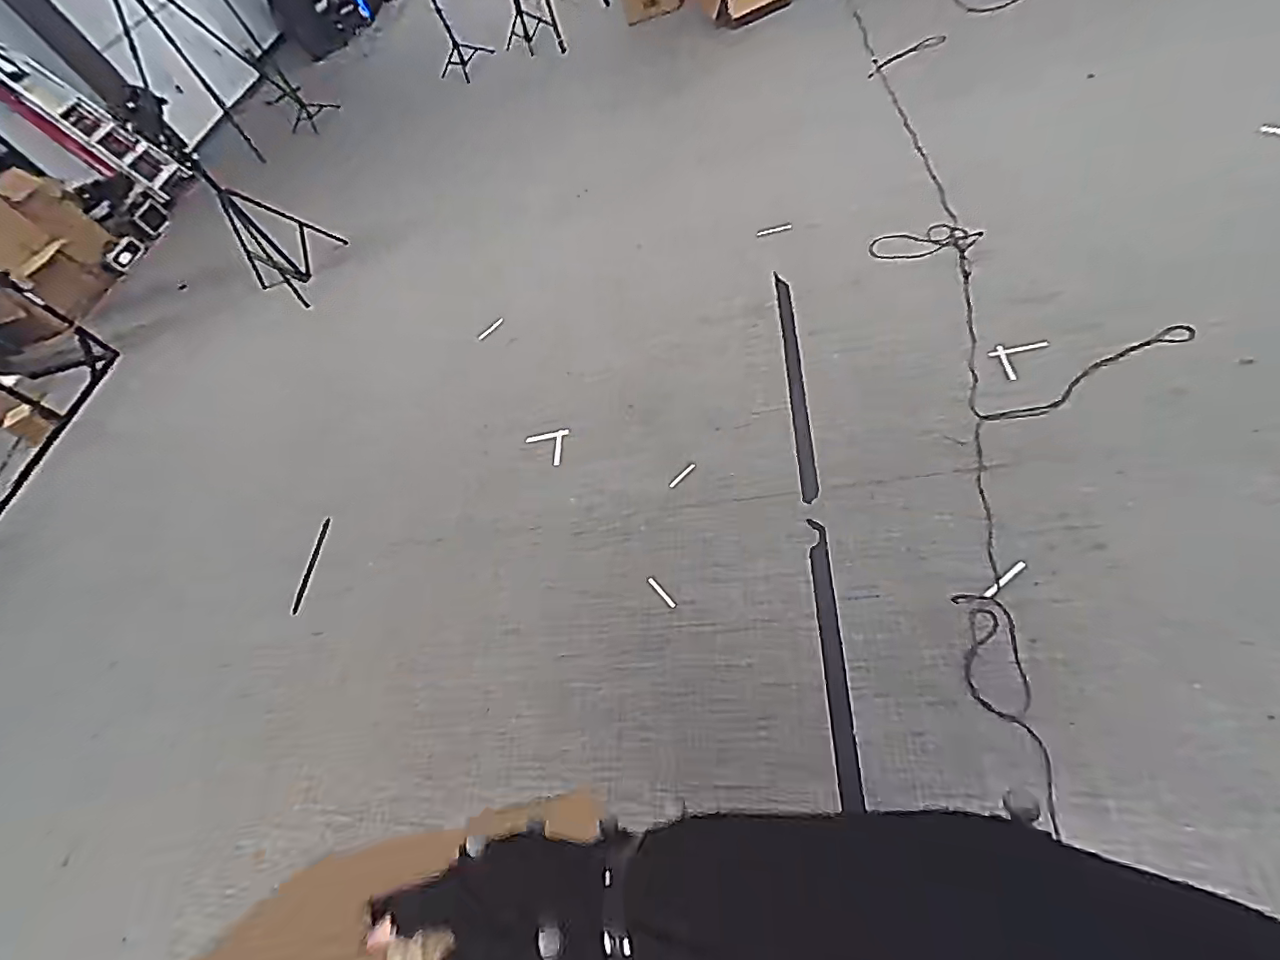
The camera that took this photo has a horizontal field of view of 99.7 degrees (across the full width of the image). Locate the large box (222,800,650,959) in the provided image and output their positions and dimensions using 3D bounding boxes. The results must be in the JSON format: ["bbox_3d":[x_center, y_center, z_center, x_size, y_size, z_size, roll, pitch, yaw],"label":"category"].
[{"bbox_3d":[-0.136,0.539,0.429,0.320,0.320,0.408,-8,70,-17],"label":"large box"}]
